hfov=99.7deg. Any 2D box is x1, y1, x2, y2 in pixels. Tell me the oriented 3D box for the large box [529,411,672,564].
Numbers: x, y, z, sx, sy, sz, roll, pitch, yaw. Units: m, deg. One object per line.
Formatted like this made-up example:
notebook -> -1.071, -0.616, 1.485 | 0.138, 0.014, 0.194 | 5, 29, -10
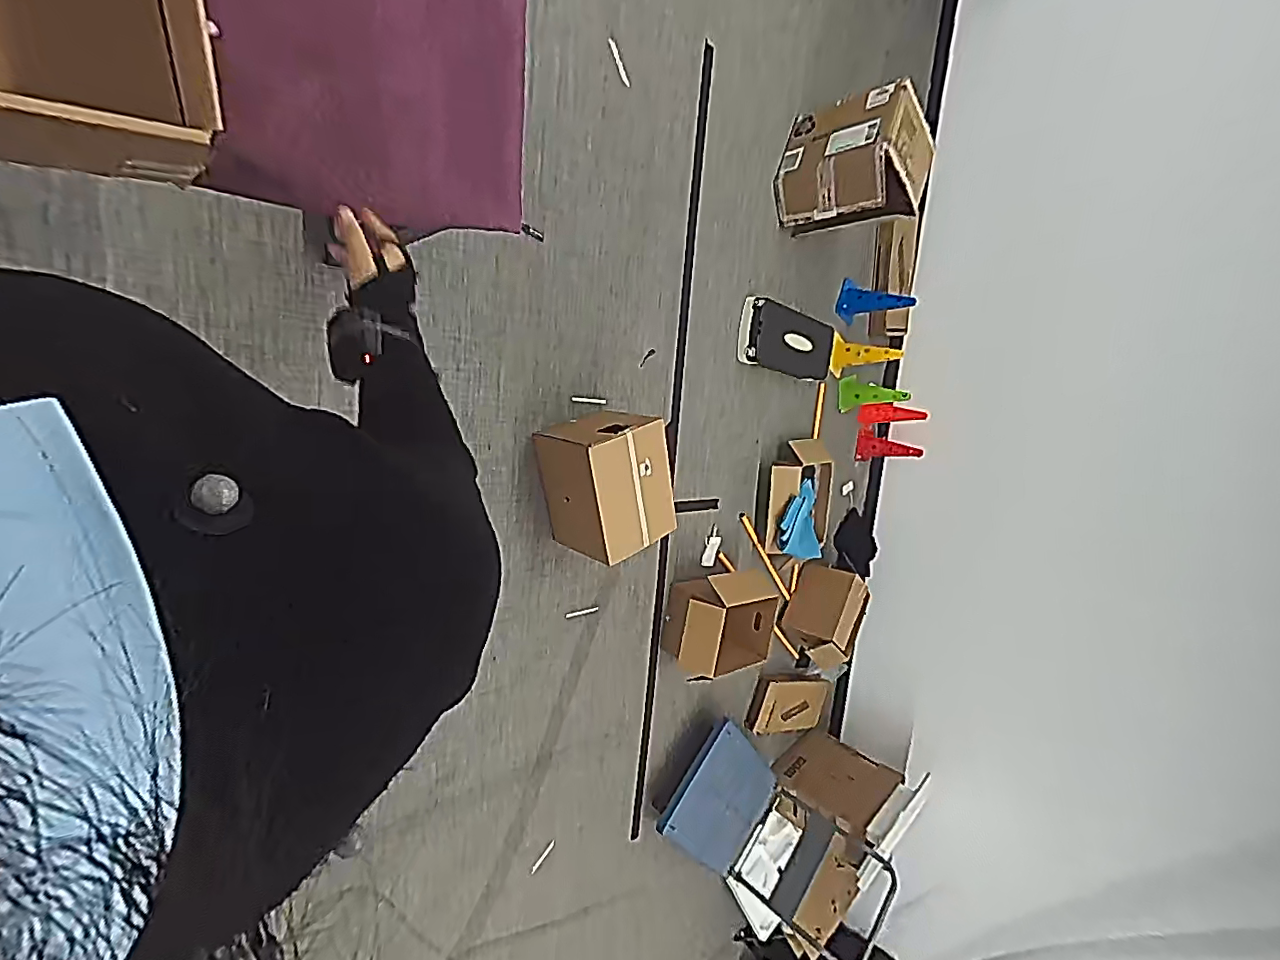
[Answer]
large box -> -0.129, 0.009, 1.812 | 0.320, 0.320, 0.408 | -26, 117, -38
